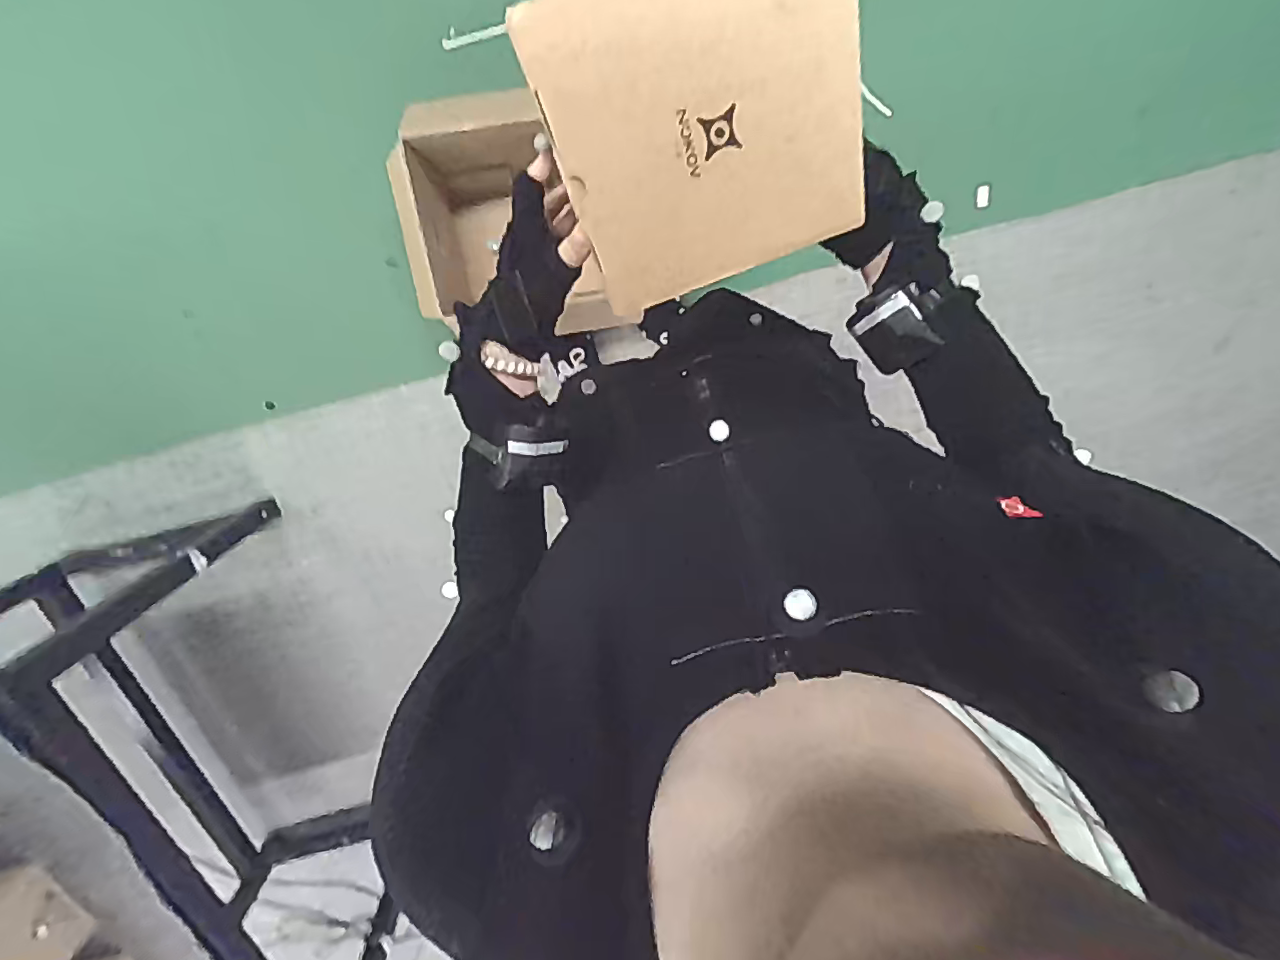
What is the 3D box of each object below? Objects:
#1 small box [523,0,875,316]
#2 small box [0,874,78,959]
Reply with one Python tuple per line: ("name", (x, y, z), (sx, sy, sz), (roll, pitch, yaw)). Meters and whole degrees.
("small box", (0.032, -0.245, 0.363), (0.179, 0.176, 0.168), (-20, 130, 5))
("small box", (-1.023, 0.735, 0.799), (0.179, 0.176, 0.168), (-15, 110, 0))
